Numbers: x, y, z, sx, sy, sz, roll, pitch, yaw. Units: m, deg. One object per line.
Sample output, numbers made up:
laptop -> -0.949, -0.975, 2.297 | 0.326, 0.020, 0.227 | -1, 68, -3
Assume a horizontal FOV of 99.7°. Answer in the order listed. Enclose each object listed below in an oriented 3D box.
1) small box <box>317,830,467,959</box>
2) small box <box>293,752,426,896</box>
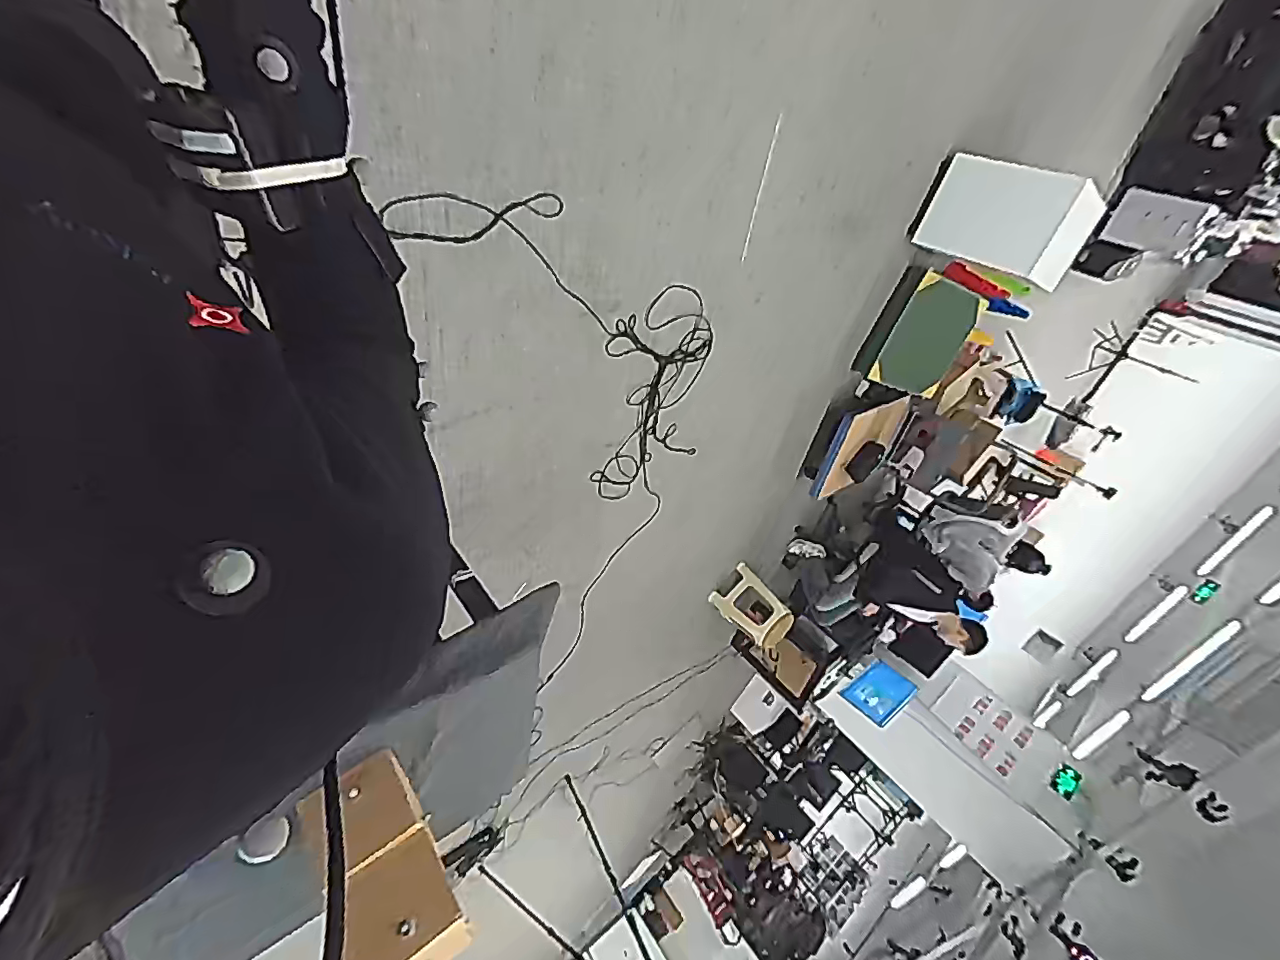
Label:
small box -> -0.421, 0.754, 0.931 | 0.179, 0.176, 0.168 | -23, 137, -32
small box -> -0.517, 0.653, 1.015 | 0.168, 0.176, 0.179 | -26, 139, -30
